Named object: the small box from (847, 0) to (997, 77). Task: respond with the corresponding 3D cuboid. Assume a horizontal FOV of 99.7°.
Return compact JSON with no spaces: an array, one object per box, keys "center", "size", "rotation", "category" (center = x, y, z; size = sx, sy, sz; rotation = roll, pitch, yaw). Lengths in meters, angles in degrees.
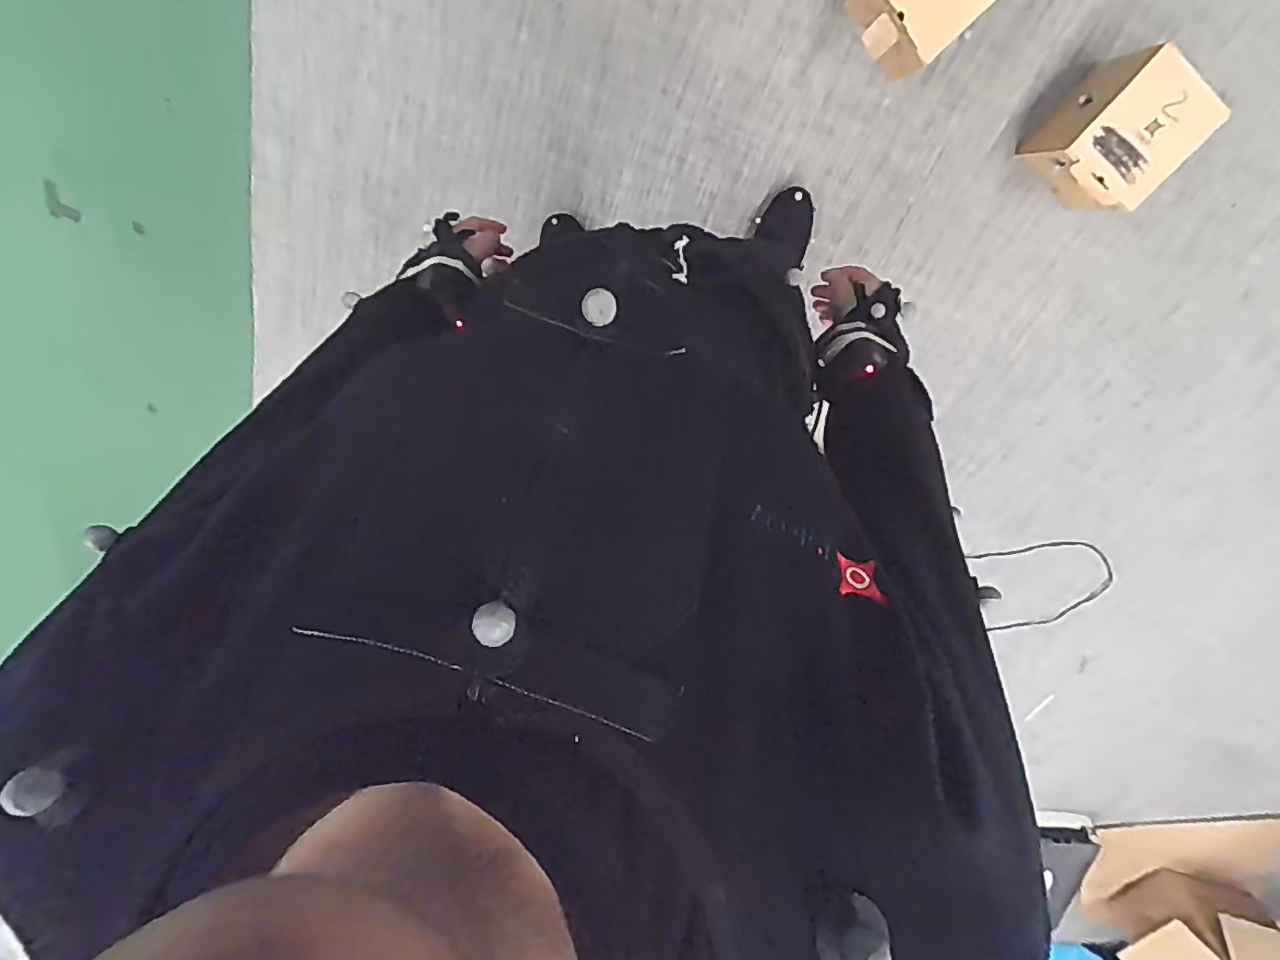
[{"center":[0.464,-0.794,0.863],"size":[0.179,0.176,0.168],"rotation":[-38,109,24],"category":"small box"}]
